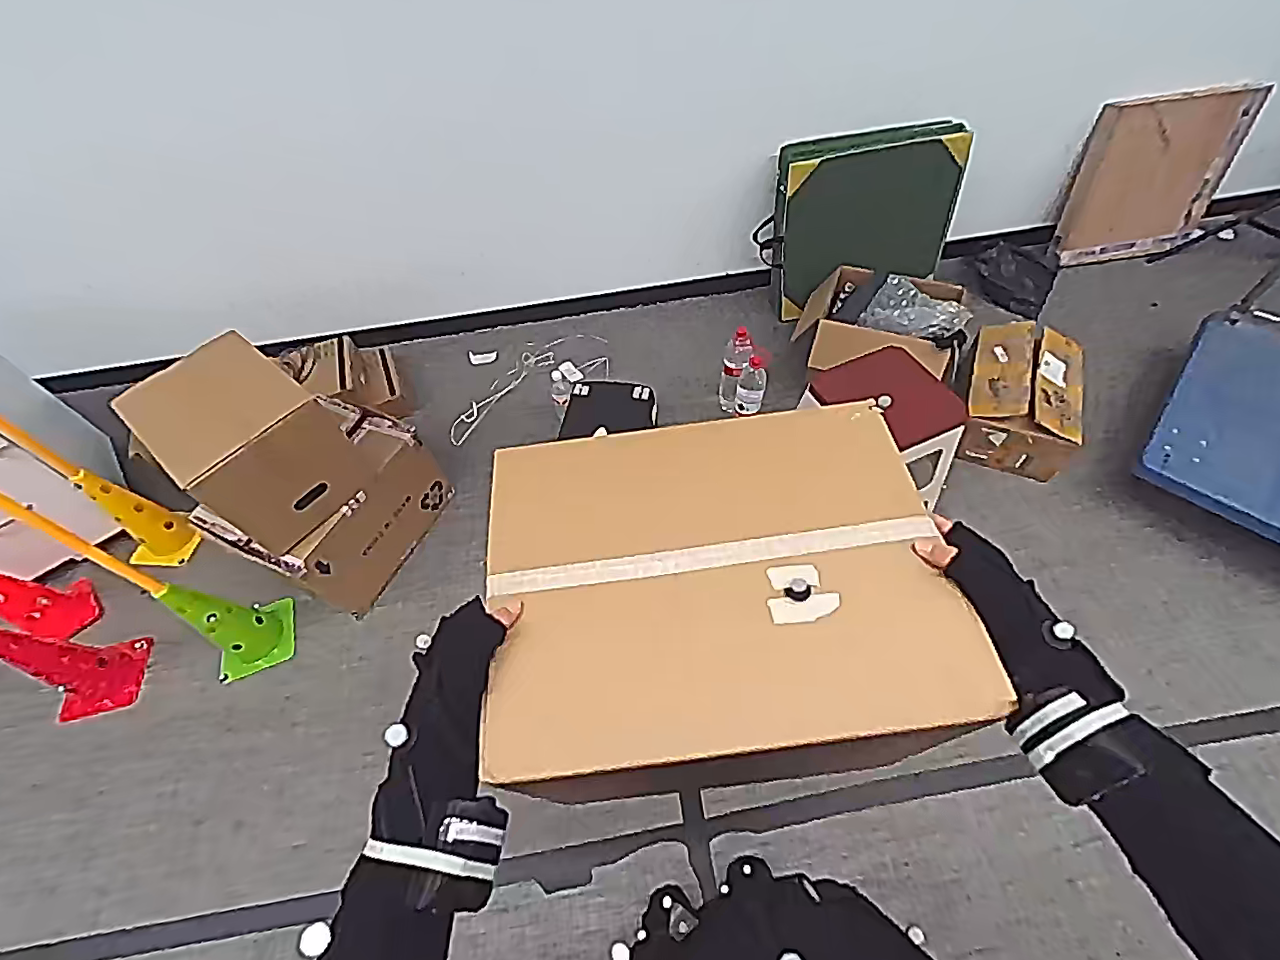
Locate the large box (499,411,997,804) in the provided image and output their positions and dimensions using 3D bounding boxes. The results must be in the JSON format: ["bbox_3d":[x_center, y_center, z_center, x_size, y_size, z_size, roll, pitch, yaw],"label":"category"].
[{"bbox_3d":[0.077,0.160,0.624,0.408,0.320,0.320,-8,56,0],"label":"large box"}]
